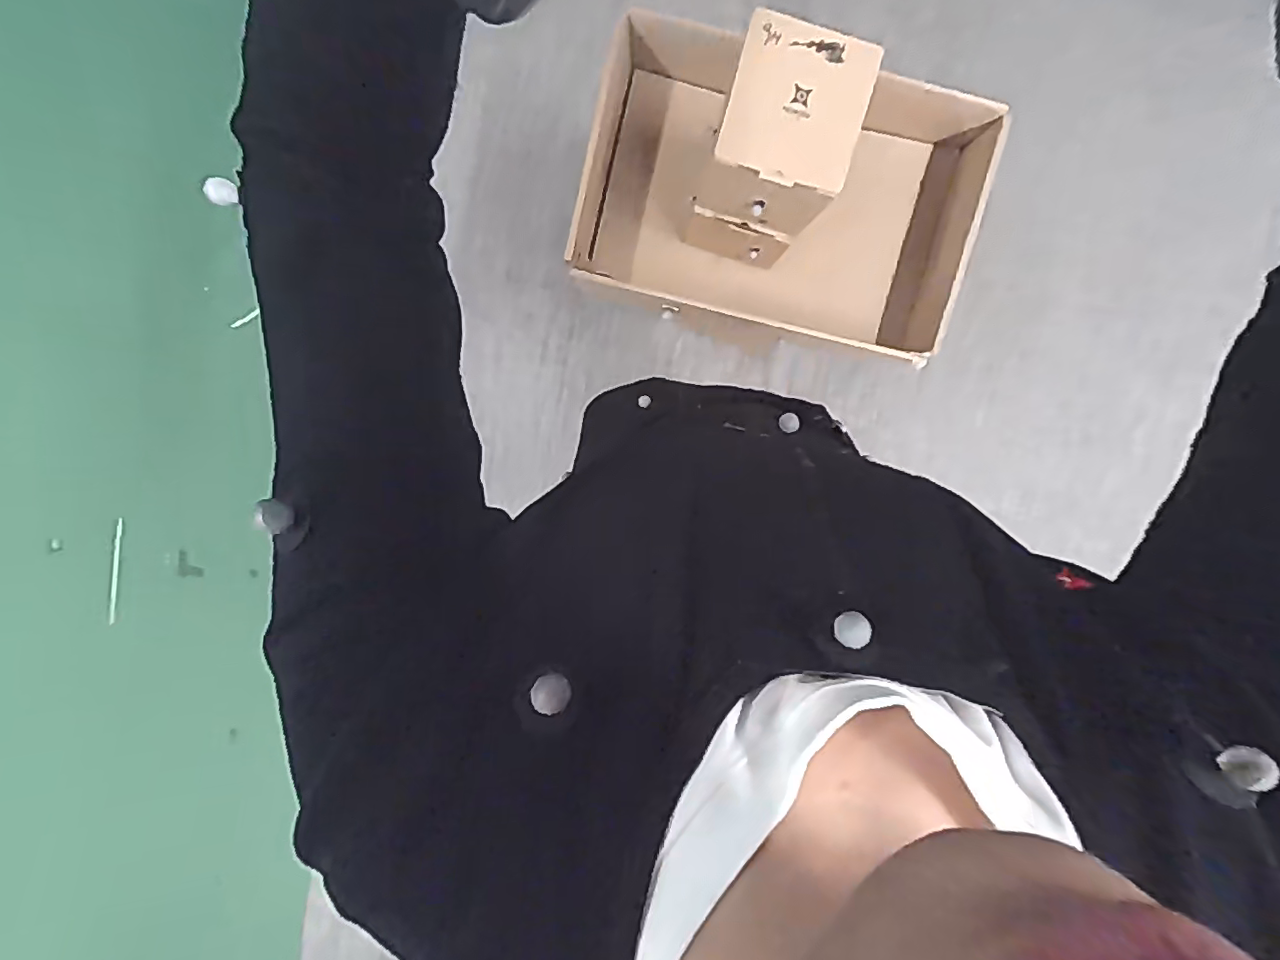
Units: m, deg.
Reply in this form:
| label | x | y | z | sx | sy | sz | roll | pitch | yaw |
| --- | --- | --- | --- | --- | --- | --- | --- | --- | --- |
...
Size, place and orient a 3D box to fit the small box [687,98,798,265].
| label | x | y | z | sx | sy | sz | roll | pitch | yaw |
| --- | --- | --- | --- | --- | --- | --- | --- | --- | --- |
| small box | 0.182 | -0.479 | 0.895 | 0.168 | 0.176 | 0.179 | 16 | 96 | -4 |

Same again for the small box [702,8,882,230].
| label | x | y | z | sx | sy | sz | roll | pitch | yaw |
| --- | --- | --- | --- | --- | --- | --- | --- | --- | --- |
| small box | 0.189 | -0.465 | 0.732 | 0.168 | 0.176 | 0.179 | 16 | 99 | -4 |
